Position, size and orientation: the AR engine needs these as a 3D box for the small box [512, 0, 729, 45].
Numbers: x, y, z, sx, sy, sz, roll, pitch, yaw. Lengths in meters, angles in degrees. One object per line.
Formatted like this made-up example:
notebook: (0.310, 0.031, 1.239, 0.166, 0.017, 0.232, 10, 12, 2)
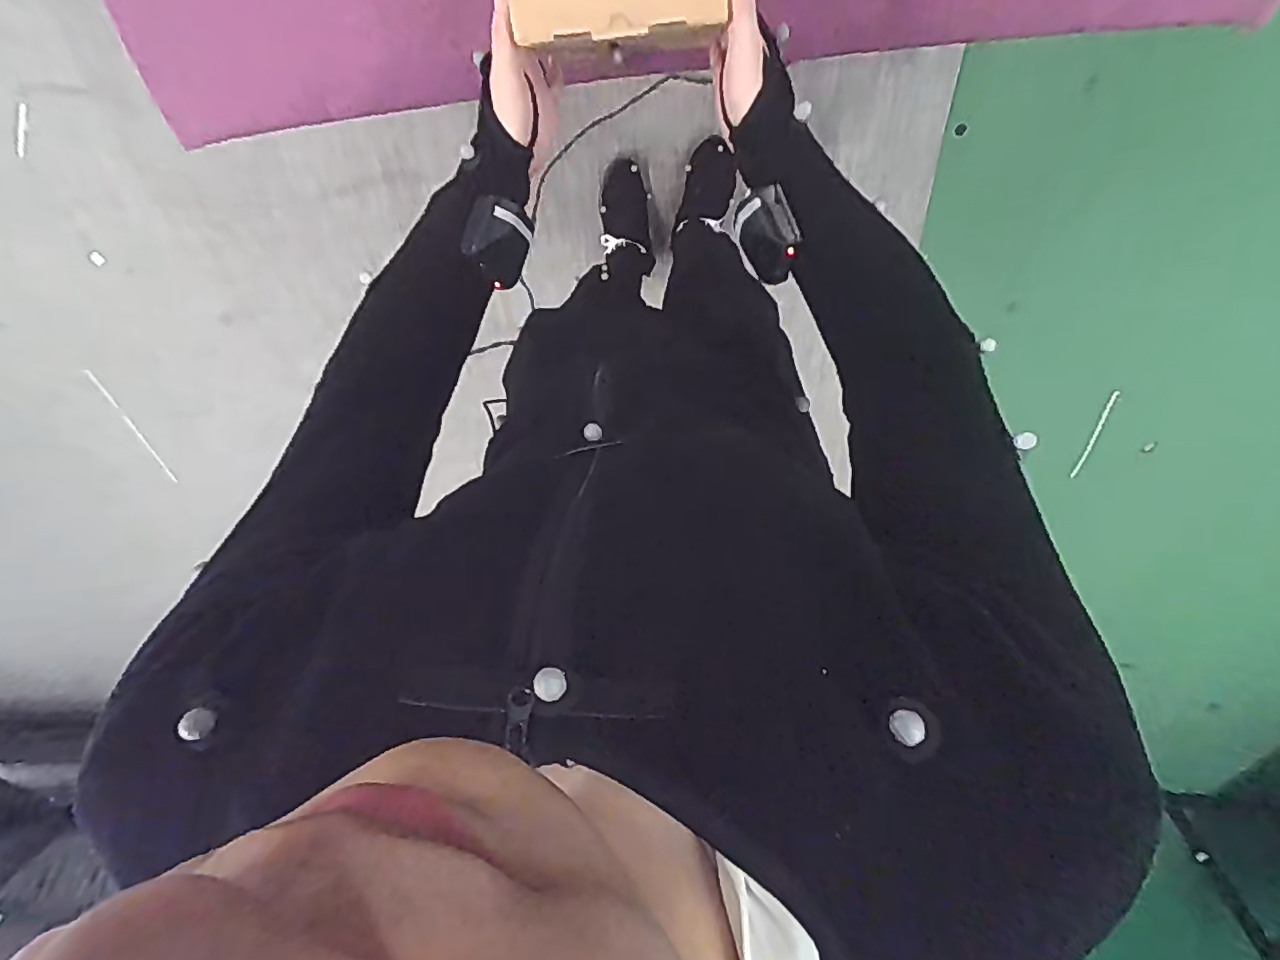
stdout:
small box: (-0.018, -0.466, 0.425, 0.168, 0.176, 0.179, -3, 126, 5)
